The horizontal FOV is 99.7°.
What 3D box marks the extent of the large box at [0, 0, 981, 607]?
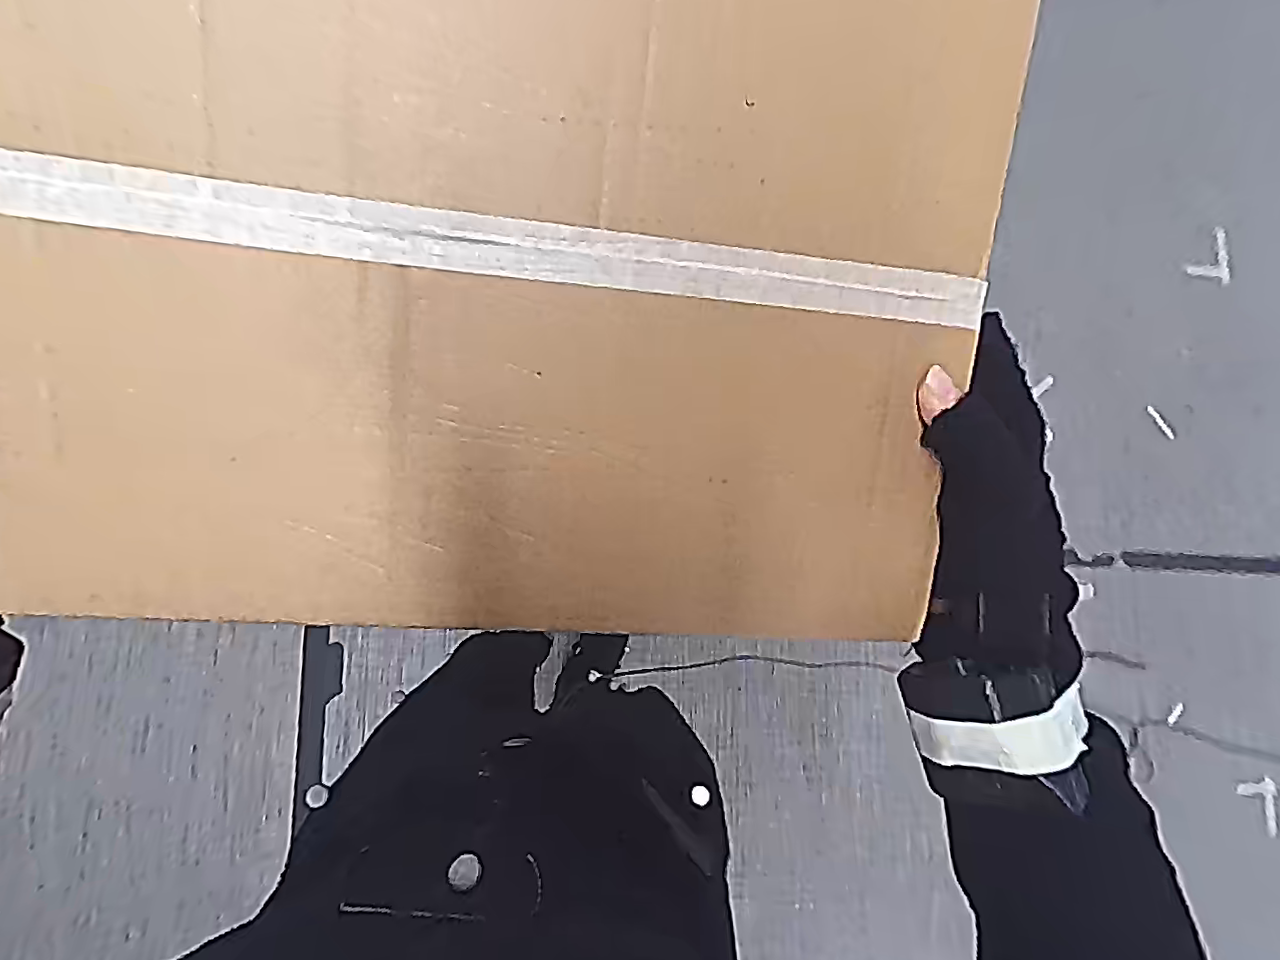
[{"bbox_3d":[-0.081,-0.124,0.364,0.408,0.320,0.320,4,99,-9],"label":"large box"}]
